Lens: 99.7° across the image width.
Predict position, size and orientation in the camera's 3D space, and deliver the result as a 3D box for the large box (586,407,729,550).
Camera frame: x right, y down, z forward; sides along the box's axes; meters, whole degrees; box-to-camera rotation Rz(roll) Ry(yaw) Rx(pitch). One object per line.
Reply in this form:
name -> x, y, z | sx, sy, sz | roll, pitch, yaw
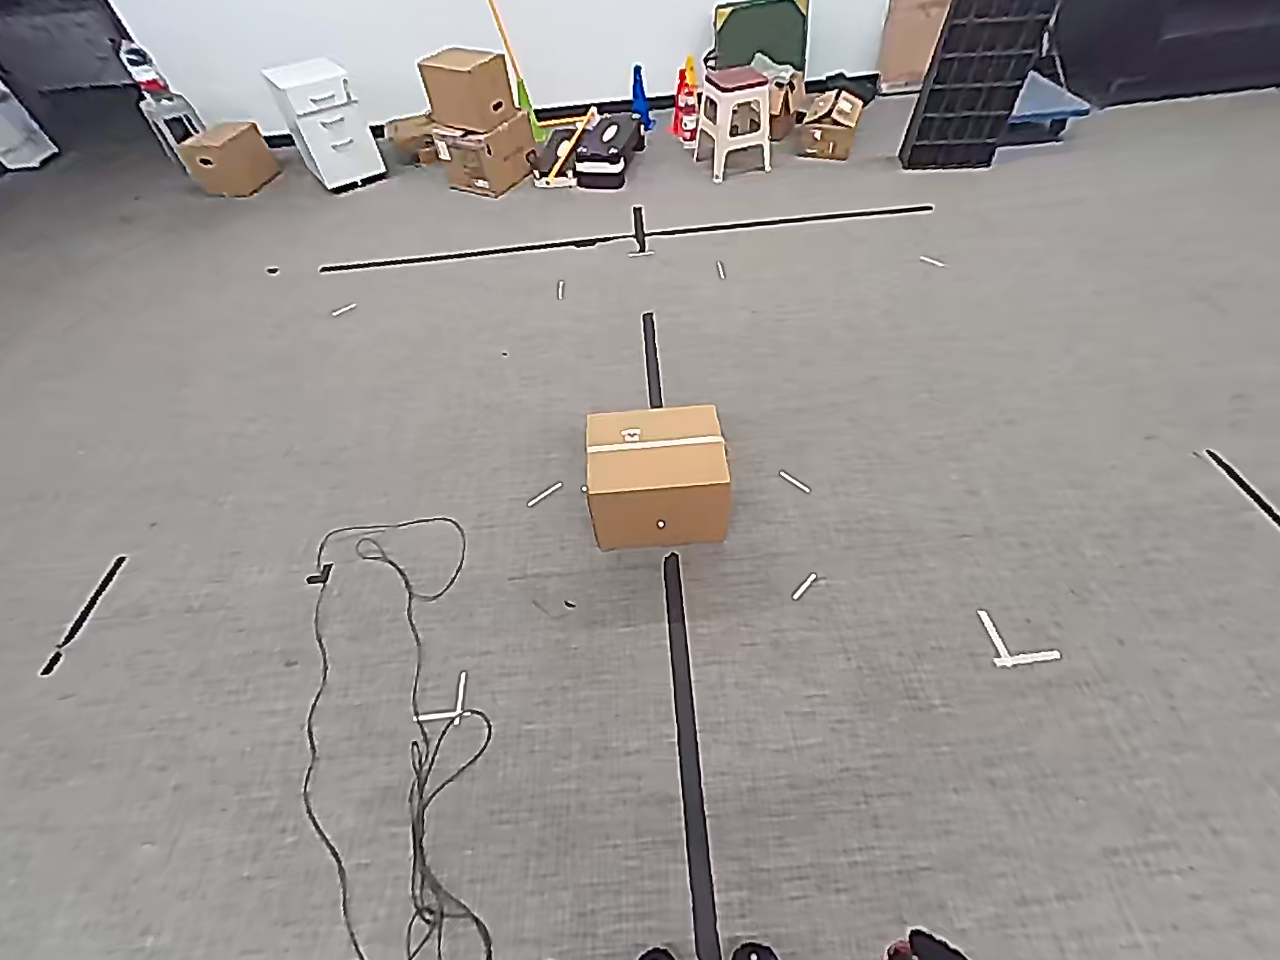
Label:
large box -> 0.052, 0.001, 1.713 | 0.408, 0.320, 0.320 | -5, 51, 1
